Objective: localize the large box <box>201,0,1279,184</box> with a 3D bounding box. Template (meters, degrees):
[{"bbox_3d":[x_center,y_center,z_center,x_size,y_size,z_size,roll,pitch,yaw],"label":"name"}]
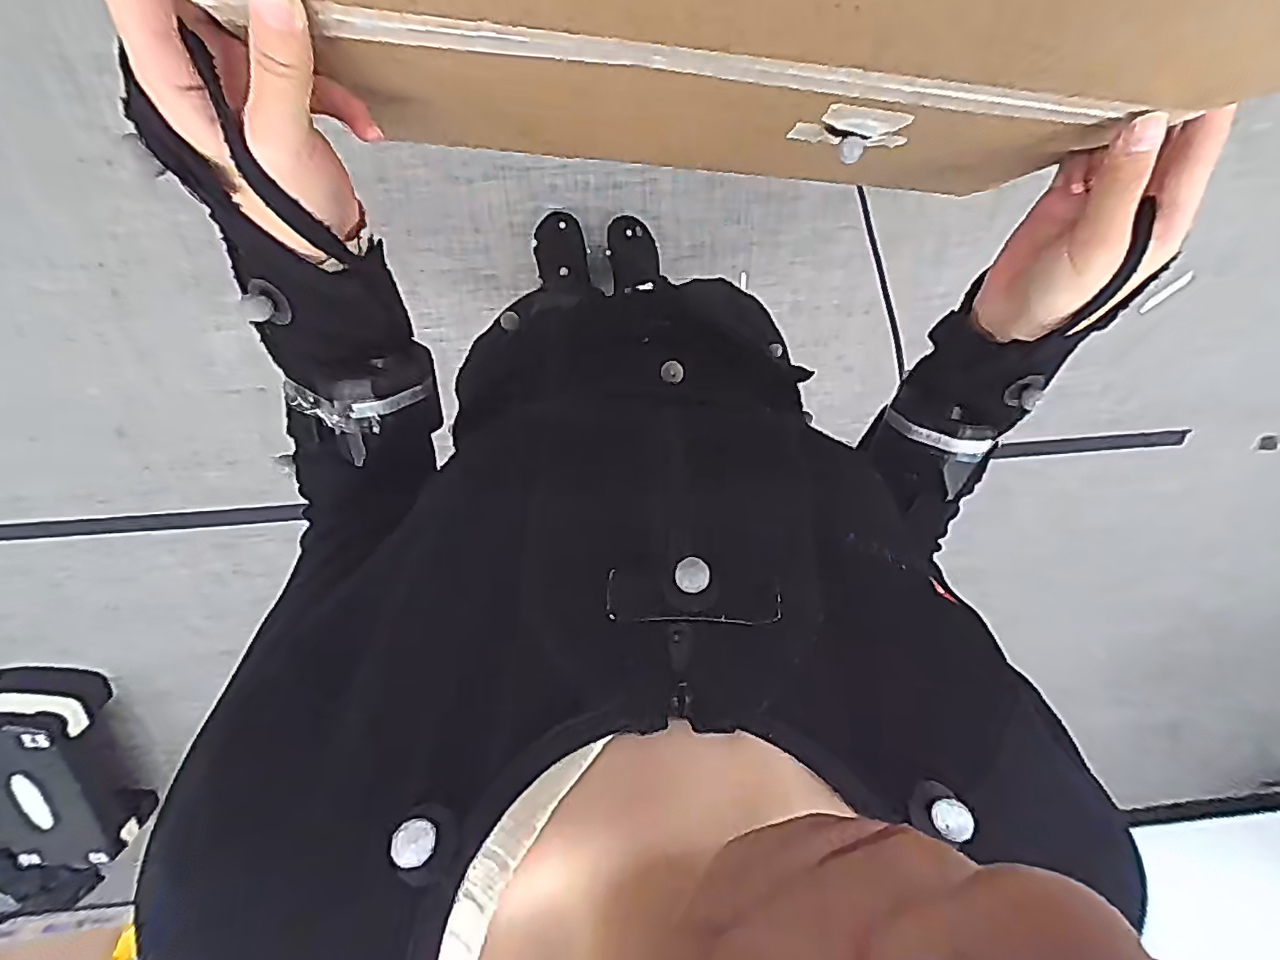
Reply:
[{"bbox_3d":[0.043,-0.316,0.176,0.408,0.320,0.320,0,107,-6],"label":"large box"}]
